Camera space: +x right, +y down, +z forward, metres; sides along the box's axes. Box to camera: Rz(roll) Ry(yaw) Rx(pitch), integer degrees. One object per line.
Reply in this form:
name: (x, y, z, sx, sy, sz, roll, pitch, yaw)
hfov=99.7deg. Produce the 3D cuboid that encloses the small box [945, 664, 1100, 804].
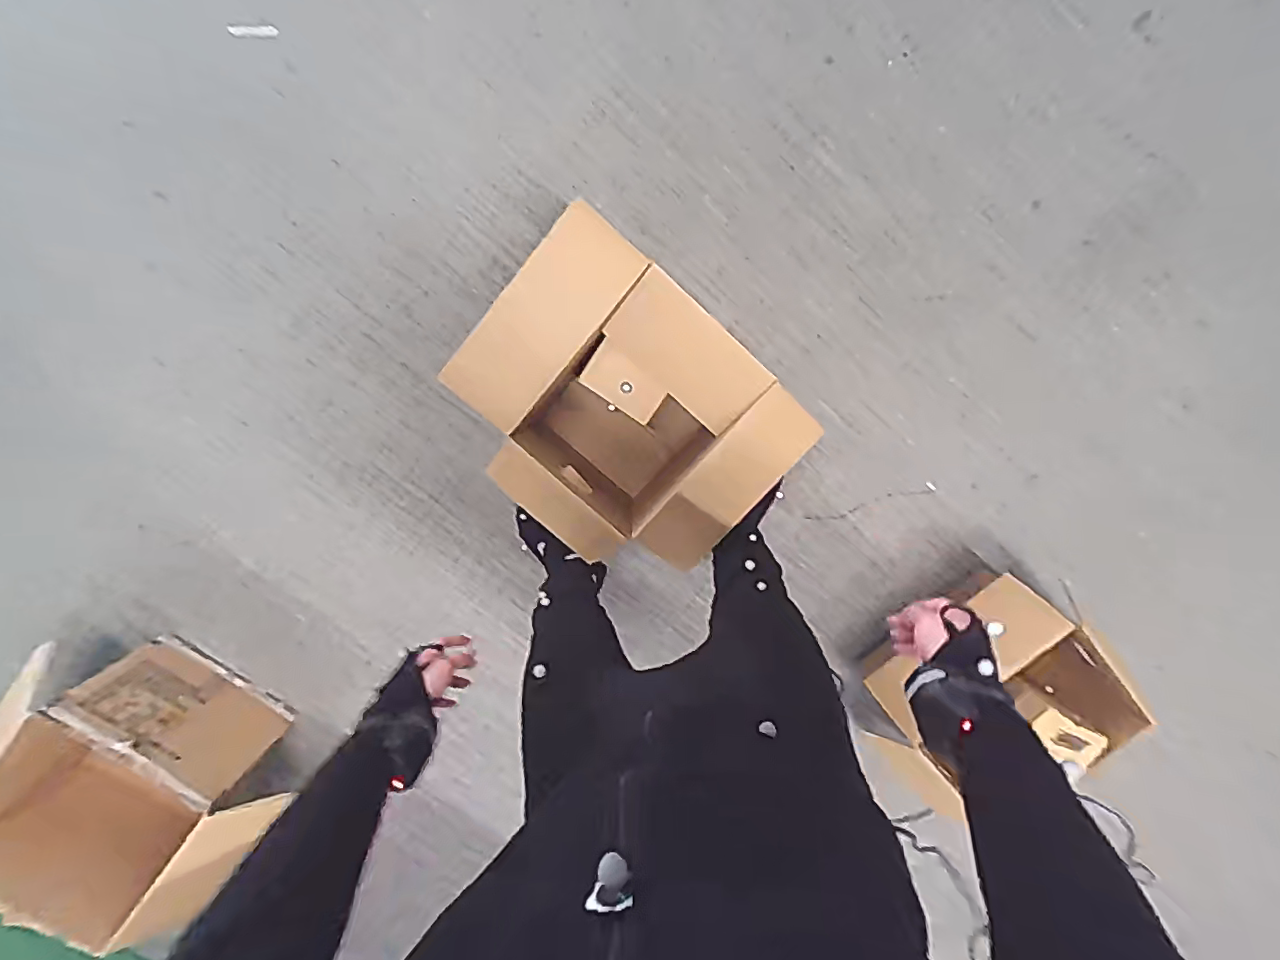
small box: (0.799, 0.530, 1.151, 0.168, 0.176, 0.179, 33, 100, -7)
